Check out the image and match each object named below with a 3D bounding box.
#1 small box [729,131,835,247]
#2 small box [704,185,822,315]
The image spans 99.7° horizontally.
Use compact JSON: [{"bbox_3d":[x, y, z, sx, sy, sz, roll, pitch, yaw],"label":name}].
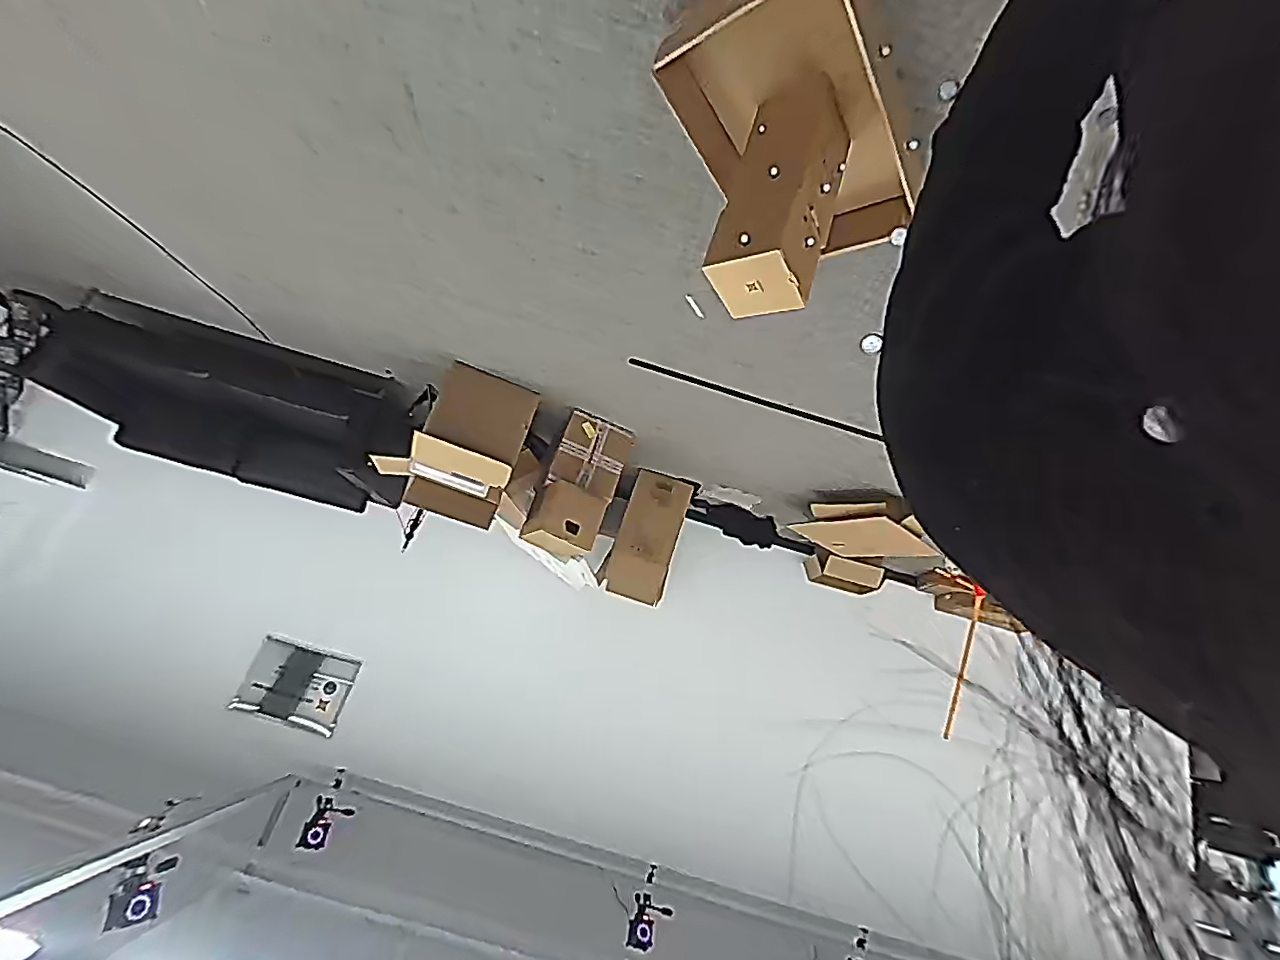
[{"bbox_3d":[0.322,-0.624,1.195,0.179,0.176,0.168,3,156,37],"label":"small box"},{"bbox_3d":[0.265,-0.480,1.143,0.179,0.176,0.168,3,156,38],"label":"small box"}]
